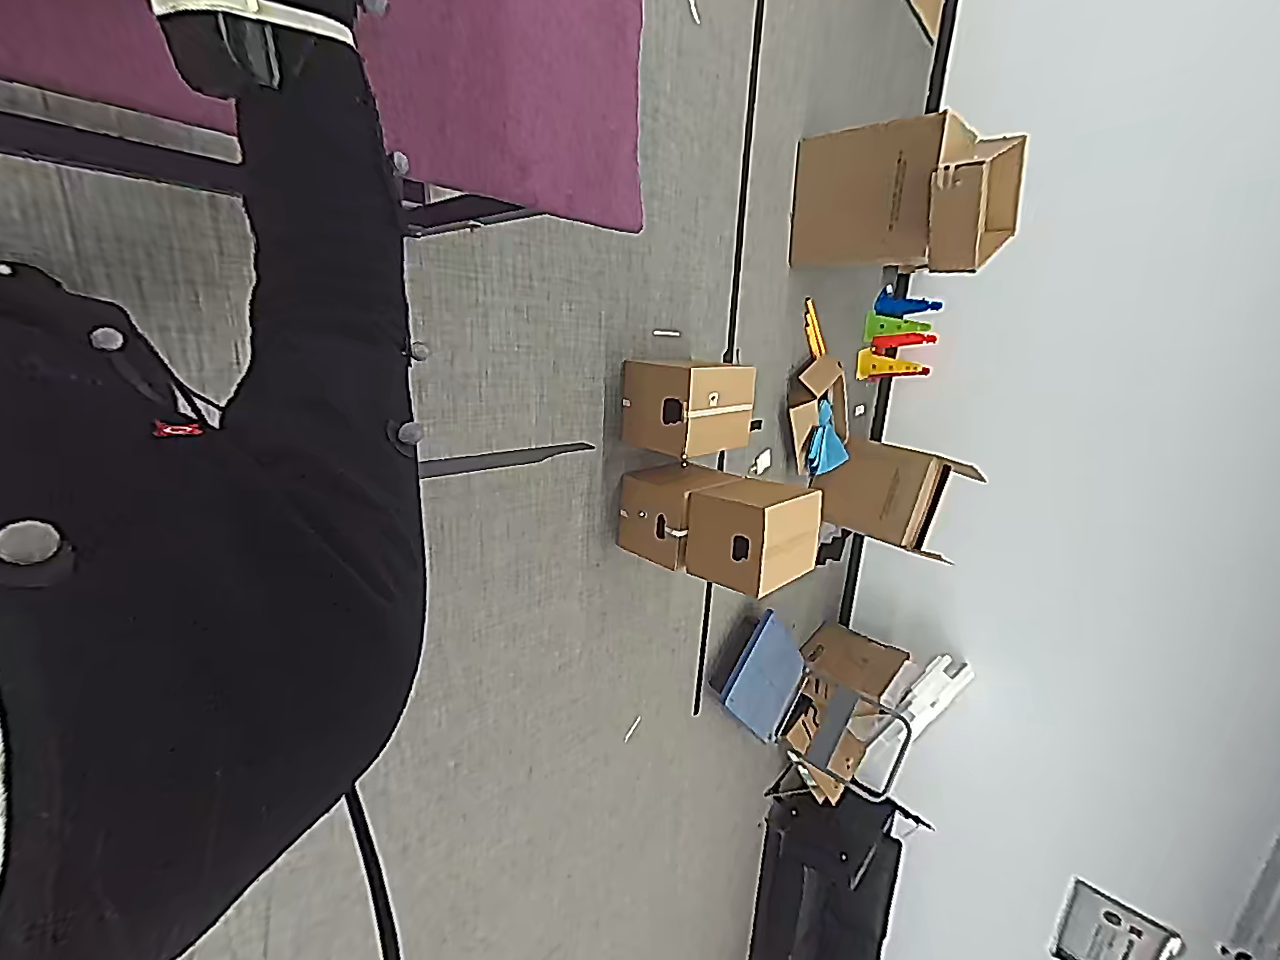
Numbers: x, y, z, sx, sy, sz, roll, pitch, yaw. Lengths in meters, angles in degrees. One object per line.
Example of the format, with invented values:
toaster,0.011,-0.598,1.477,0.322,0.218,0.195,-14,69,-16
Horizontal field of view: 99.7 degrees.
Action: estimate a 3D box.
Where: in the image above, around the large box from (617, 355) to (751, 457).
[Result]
large box,0.164,-0.297,2.035,0.408,0.320,0.320,-14,113,-45
